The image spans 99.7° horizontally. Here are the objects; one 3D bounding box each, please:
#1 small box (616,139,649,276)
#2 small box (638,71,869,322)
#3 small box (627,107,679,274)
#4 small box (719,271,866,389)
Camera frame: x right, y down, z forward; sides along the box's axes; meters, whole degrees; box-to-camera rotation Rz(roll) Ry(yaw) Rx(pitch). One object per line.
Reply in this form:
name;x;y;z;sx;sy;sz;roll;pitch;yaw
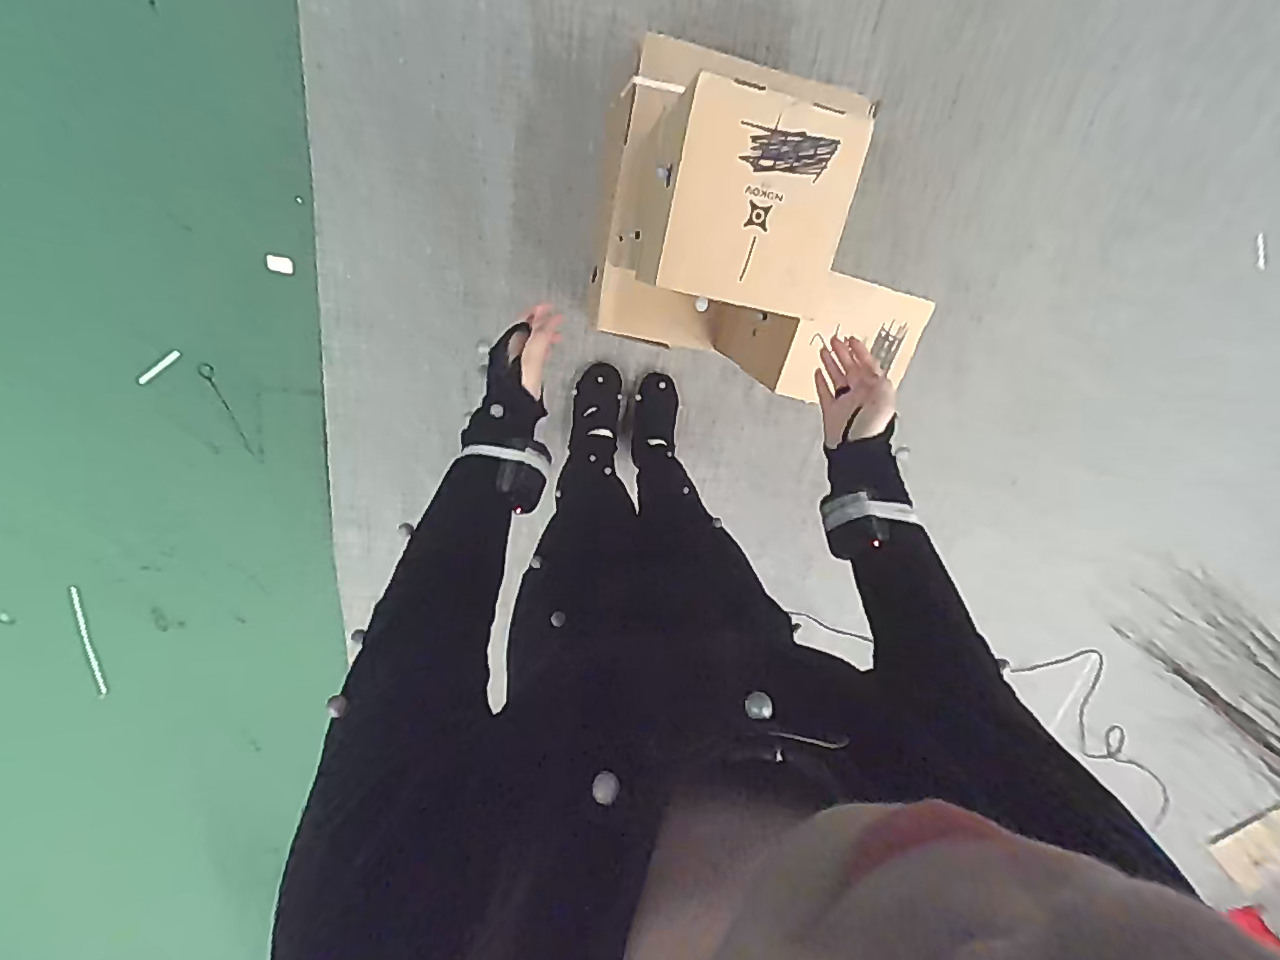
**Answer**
small box;0.058;-0.408;0.862;0.168;0.176;0.179;9;109;-10
small box;0.098;-0.278;0.564;0.168;0.176;0.179;9;111;-10
small box;0.080;-0.350;0.711;0.168;0.176;0.179;8;111;-10
small box;0.249;-0.274;0.935;0.168;0.176;0.179;10;109;-11
